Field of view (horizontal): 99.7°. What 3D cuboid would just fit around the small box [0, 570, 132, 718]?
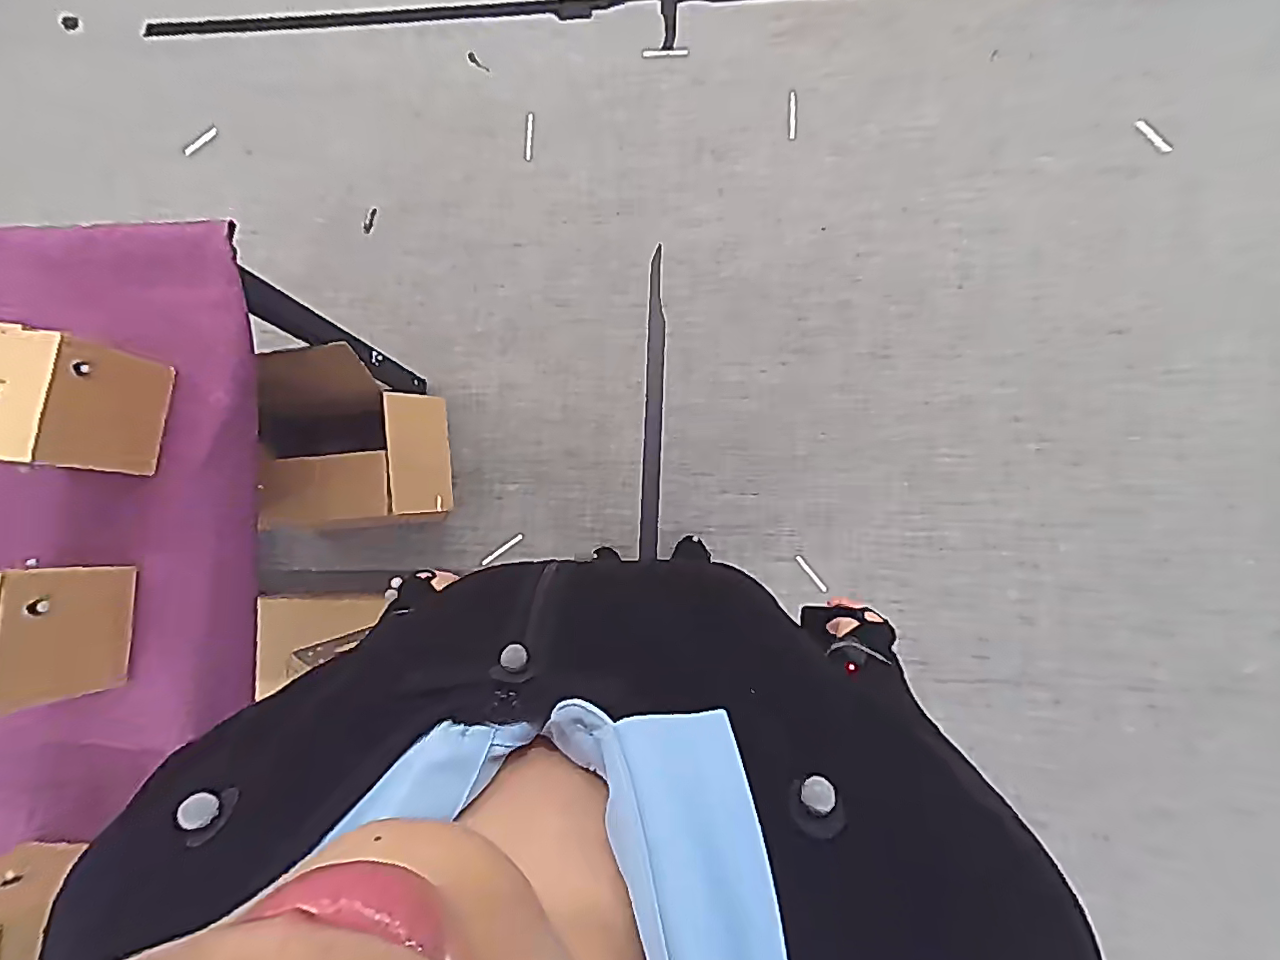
[{"bbox_3d":[-0.850,0.212,0.734,0.168,0.176,0.179,-2,84,6],"label":"small box"}]

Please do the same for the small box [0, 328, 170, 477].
[{"bbox_3d":[-0.830,-0.103,0.771,0.168,0.176,0.179,6,83,5],"label":"small box"}]
